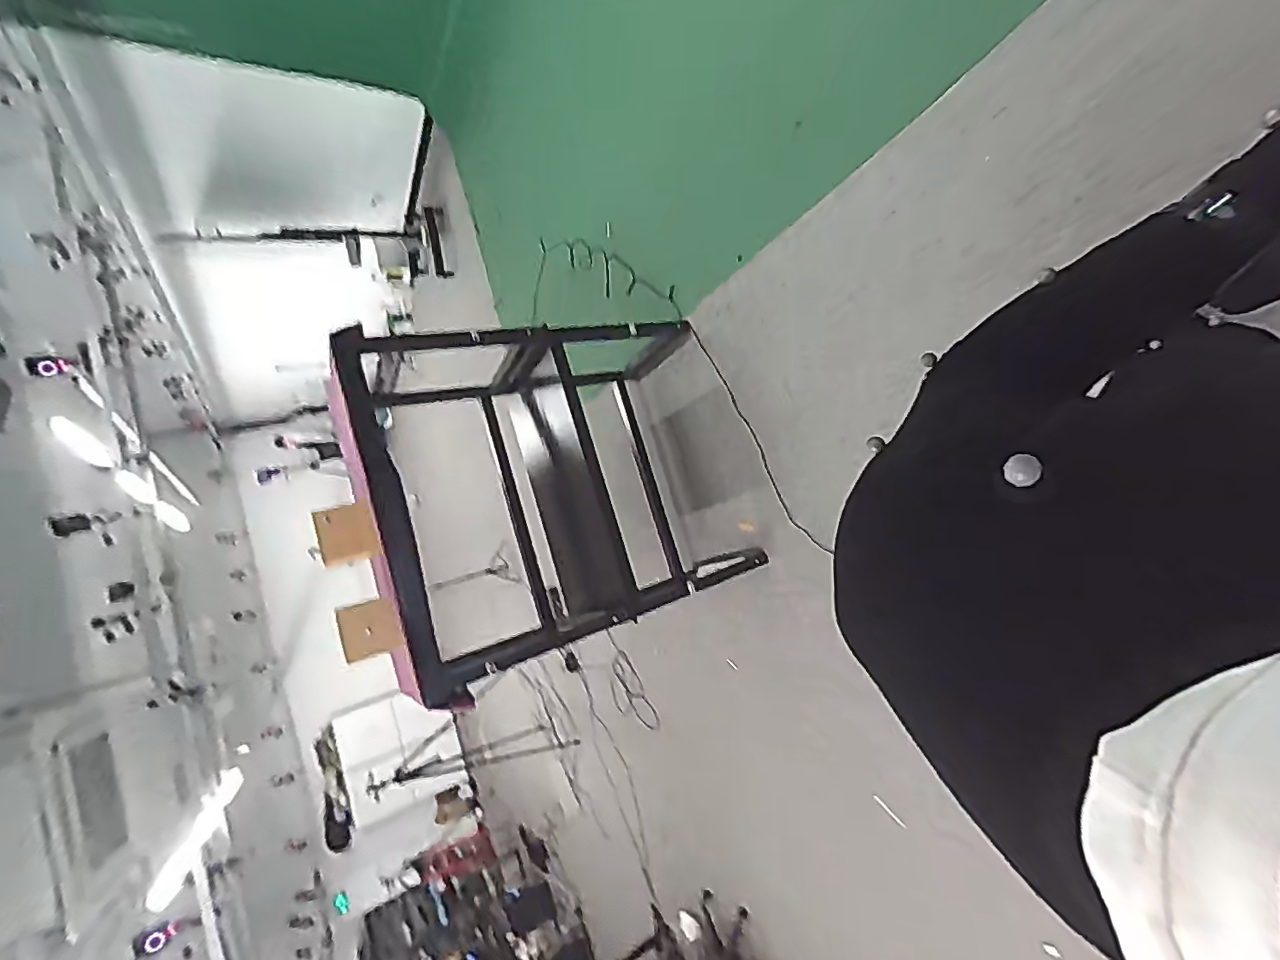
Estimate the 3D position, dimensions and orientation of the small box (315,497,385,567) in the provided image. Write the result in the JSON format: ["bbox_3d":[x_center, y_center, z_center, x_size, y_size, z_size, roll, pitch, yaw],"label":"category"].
[{"bbox_3d":[-0.938,0.170,1.755,0.168,0.176,0.179,-28,77,58],"label":"small box"}]

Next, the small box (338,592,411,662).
[{"bbox_3d":[-0.843,0.462,1.713,0.168,0.176,0.179,-32,75,57],"label":"small box"}]
